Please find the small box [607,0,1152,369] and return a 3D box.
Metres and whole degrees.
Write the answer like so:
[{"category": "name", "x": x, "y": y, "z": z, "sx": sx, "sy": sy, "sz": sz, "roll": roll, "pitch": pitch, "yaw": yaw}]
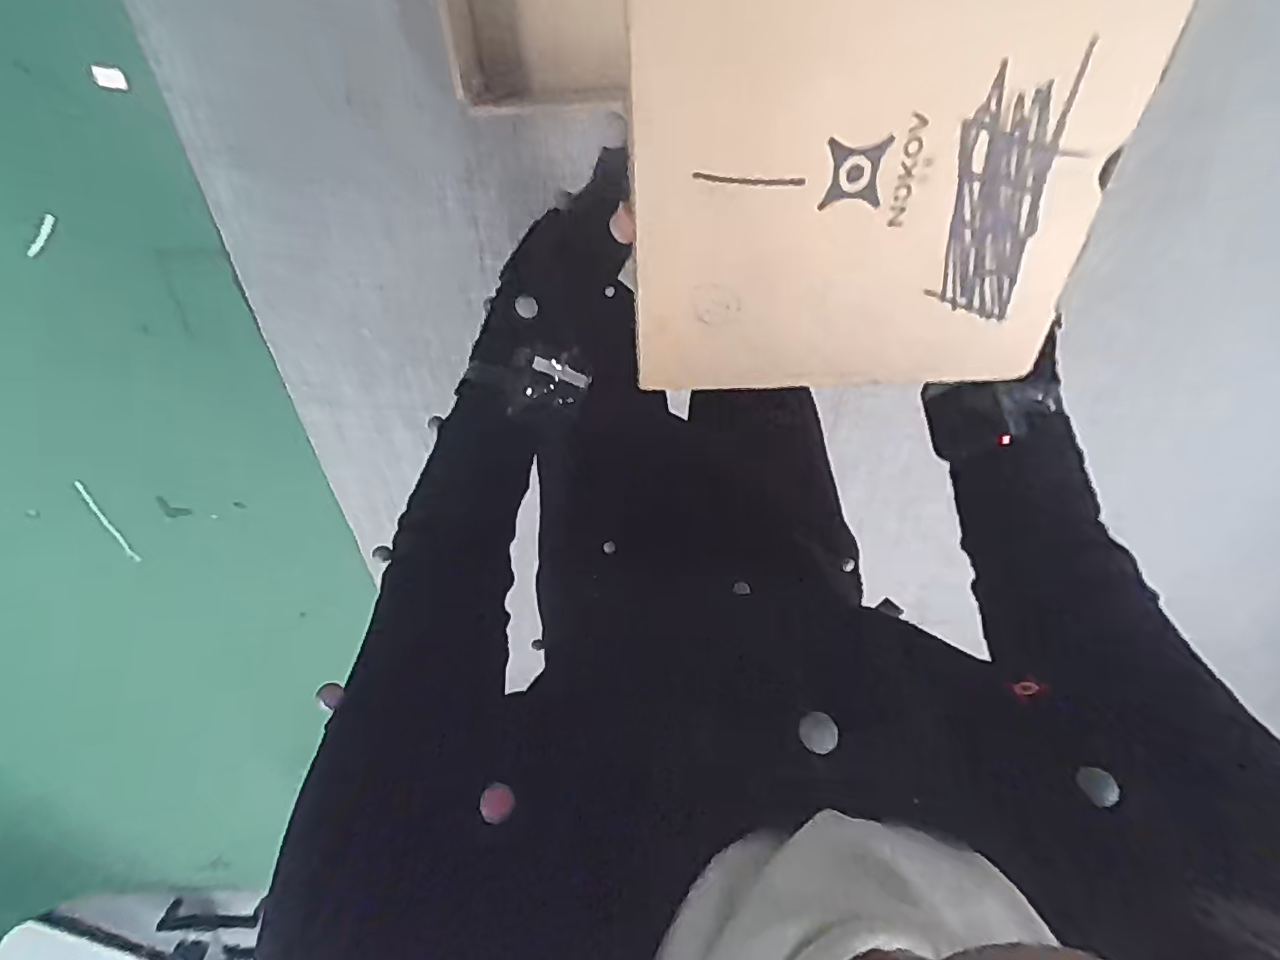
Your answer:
[{"category": "small box", "x": 0.076, "y": -0.166, "z": 0.260, "sx": 0.179, "sy": 0.176, "sz": 0.168, "roll": -1, "pitch": 127, "yaw": 1}]
